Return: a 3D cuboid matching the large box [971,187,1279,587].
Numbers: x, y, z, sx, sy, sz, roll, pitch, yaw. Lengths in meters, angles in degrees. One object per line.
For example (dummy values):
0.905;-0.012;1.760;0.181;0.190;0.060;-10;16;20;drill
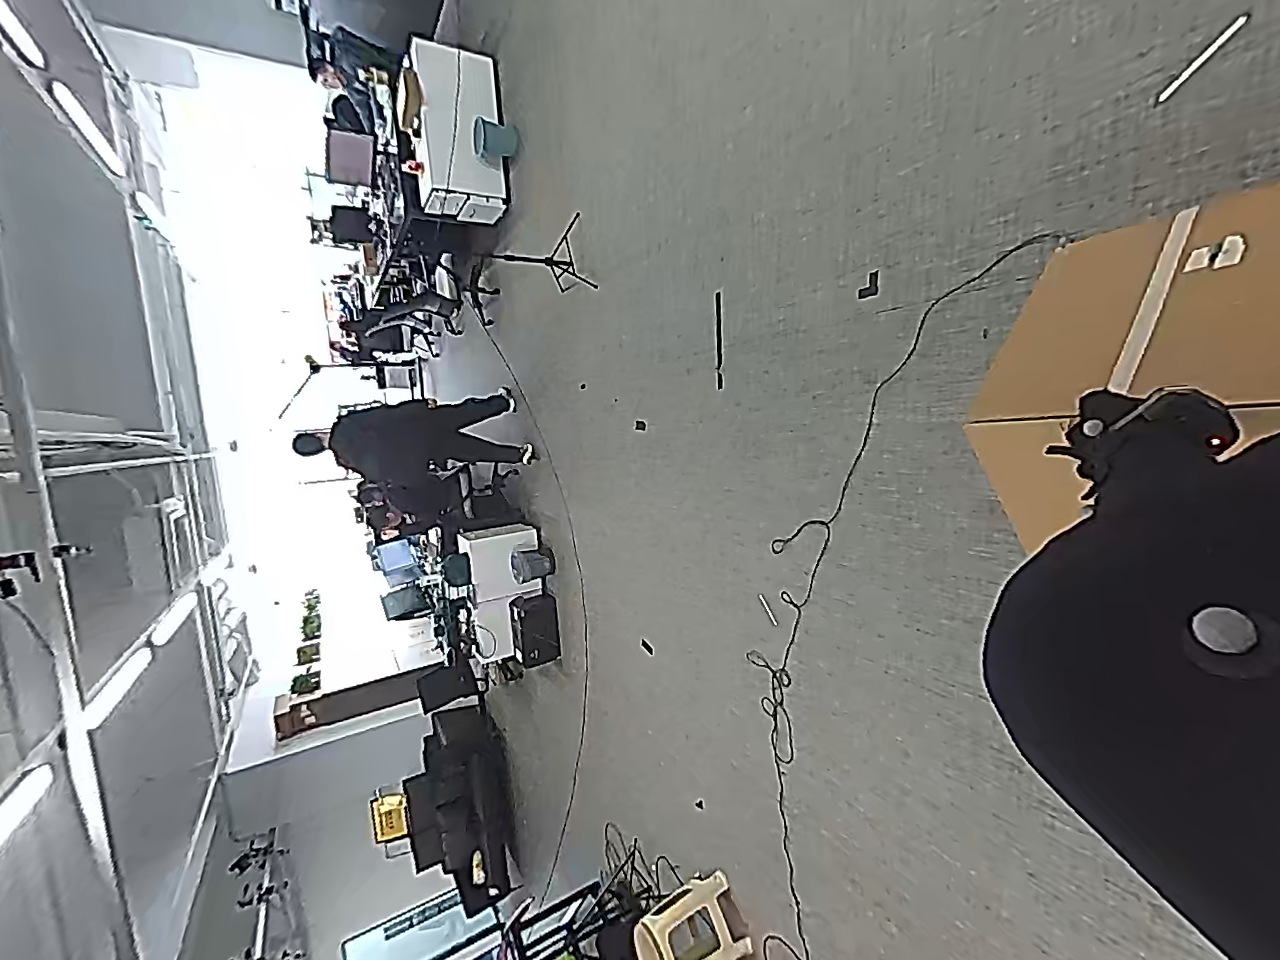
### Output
0.733;-0.116;0.731;0.320;0.408;0.320;48;158;-23;large box
